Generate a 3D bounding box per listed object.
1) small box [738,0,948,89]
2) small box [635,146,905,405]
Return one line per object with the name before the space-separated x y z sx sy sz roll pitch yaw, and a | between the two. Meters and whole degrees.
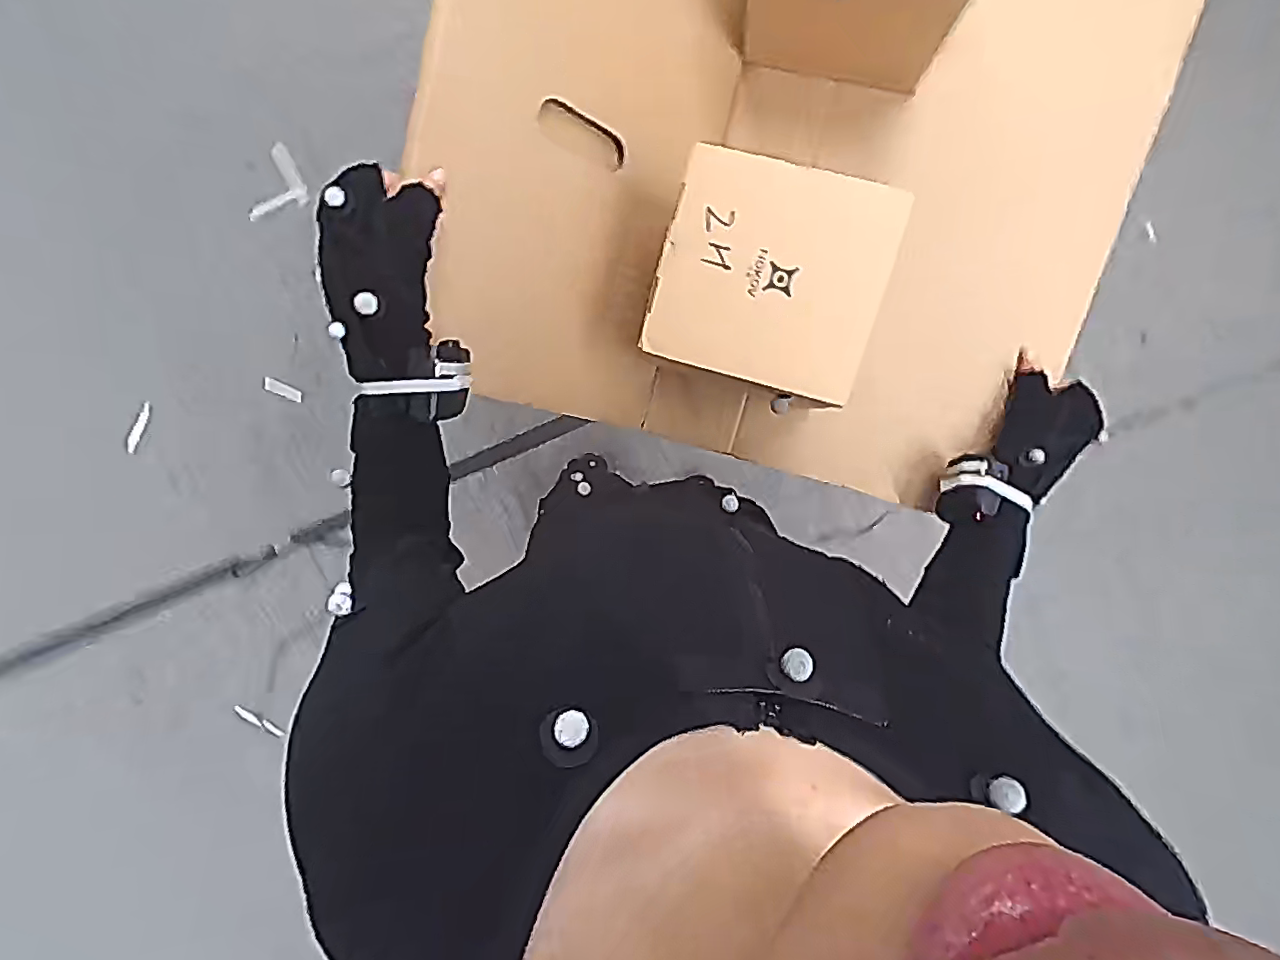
small box | 0.189 -0.478 0.462 0.179 0.176 0.168 15 98 5
small box | 0.110 -0.173 0.510 0.179 0.176 0.168 16 99 6
